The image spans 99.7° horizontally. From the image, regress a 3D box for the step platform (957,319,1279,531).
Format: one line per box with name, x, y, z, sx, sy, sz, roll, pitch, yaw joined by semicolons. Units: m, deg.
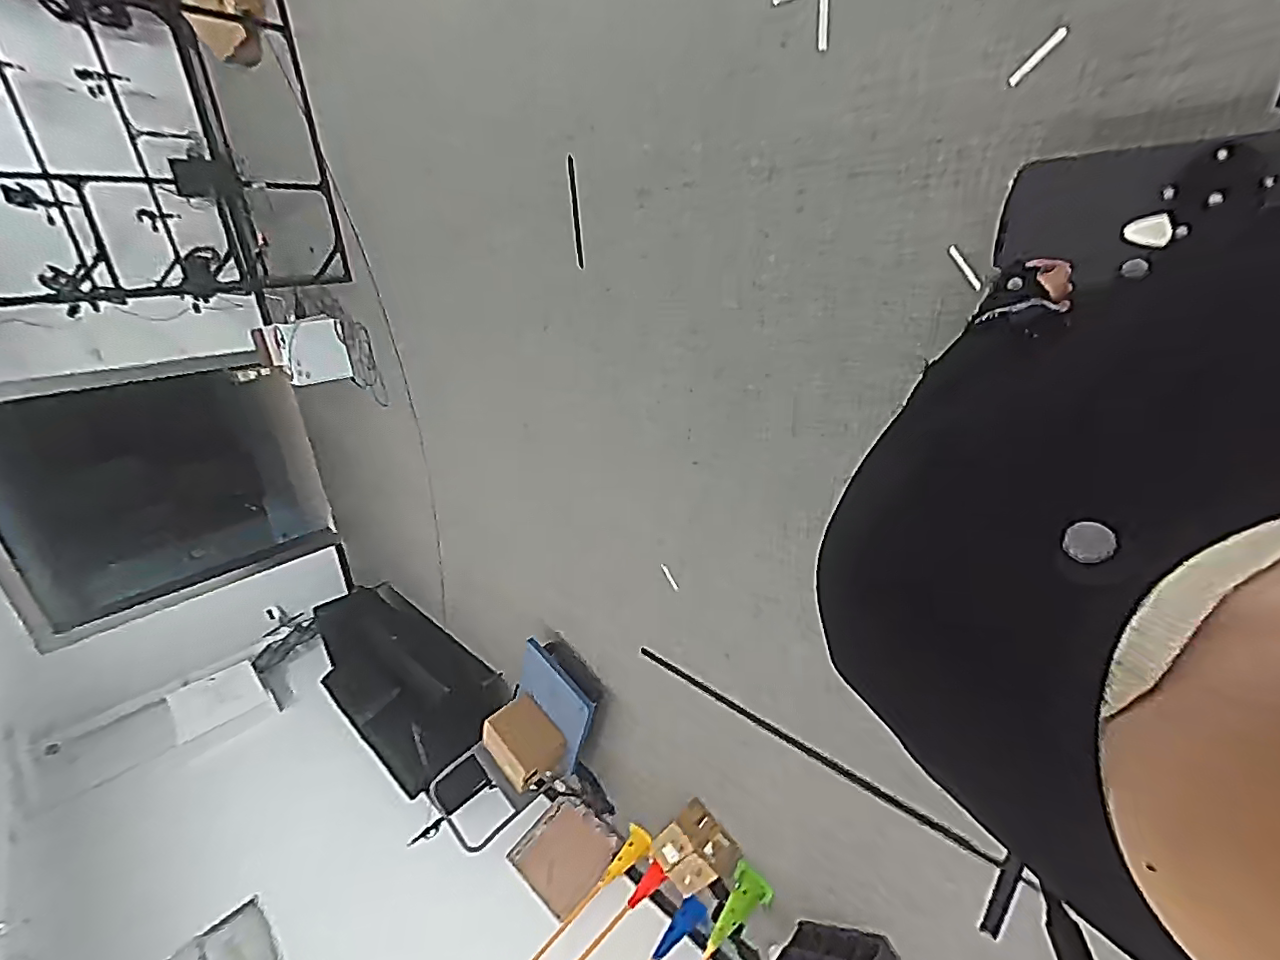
step platform;1.007;-0.122;1.034;0.684;0.204;0.286;25;123;40
